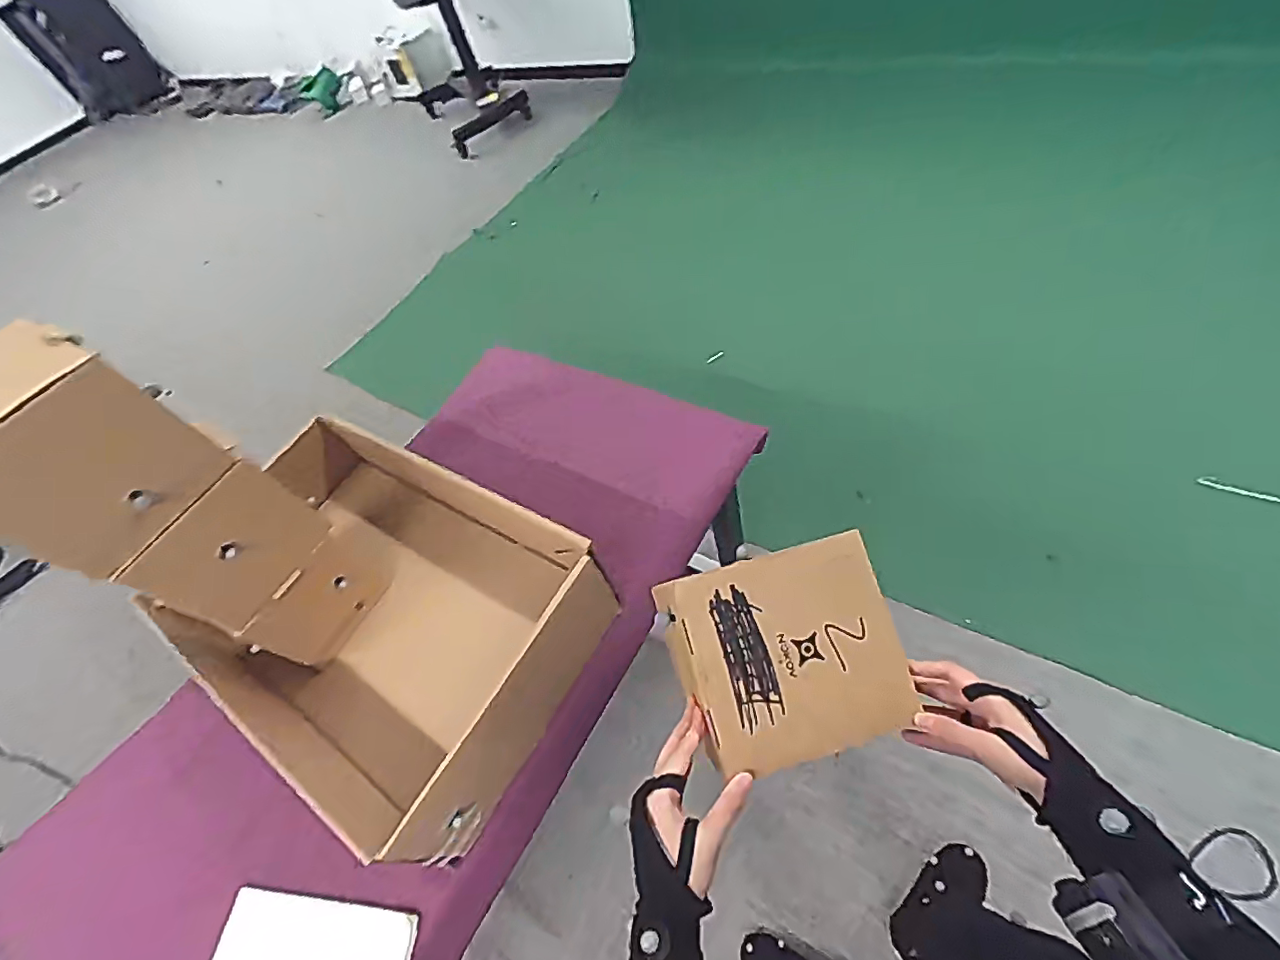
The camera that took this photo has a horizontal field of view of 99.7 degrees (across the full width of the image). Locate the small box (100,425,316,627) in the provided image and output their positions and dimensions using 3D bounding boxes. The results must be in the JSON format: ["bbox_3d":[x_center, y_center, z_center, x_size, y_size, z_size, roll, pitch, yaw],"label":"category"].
[{"bbox_3d":[-0.553,0.054,0.683,0.168,0.176,0.179,20,63,24],"label":"small box"}]

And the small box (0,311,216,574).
[{"bbox_3d":[-0.588,-0.037,0.551,0.168,0.176,0.179,22,63,26],"label":"small box"}]
